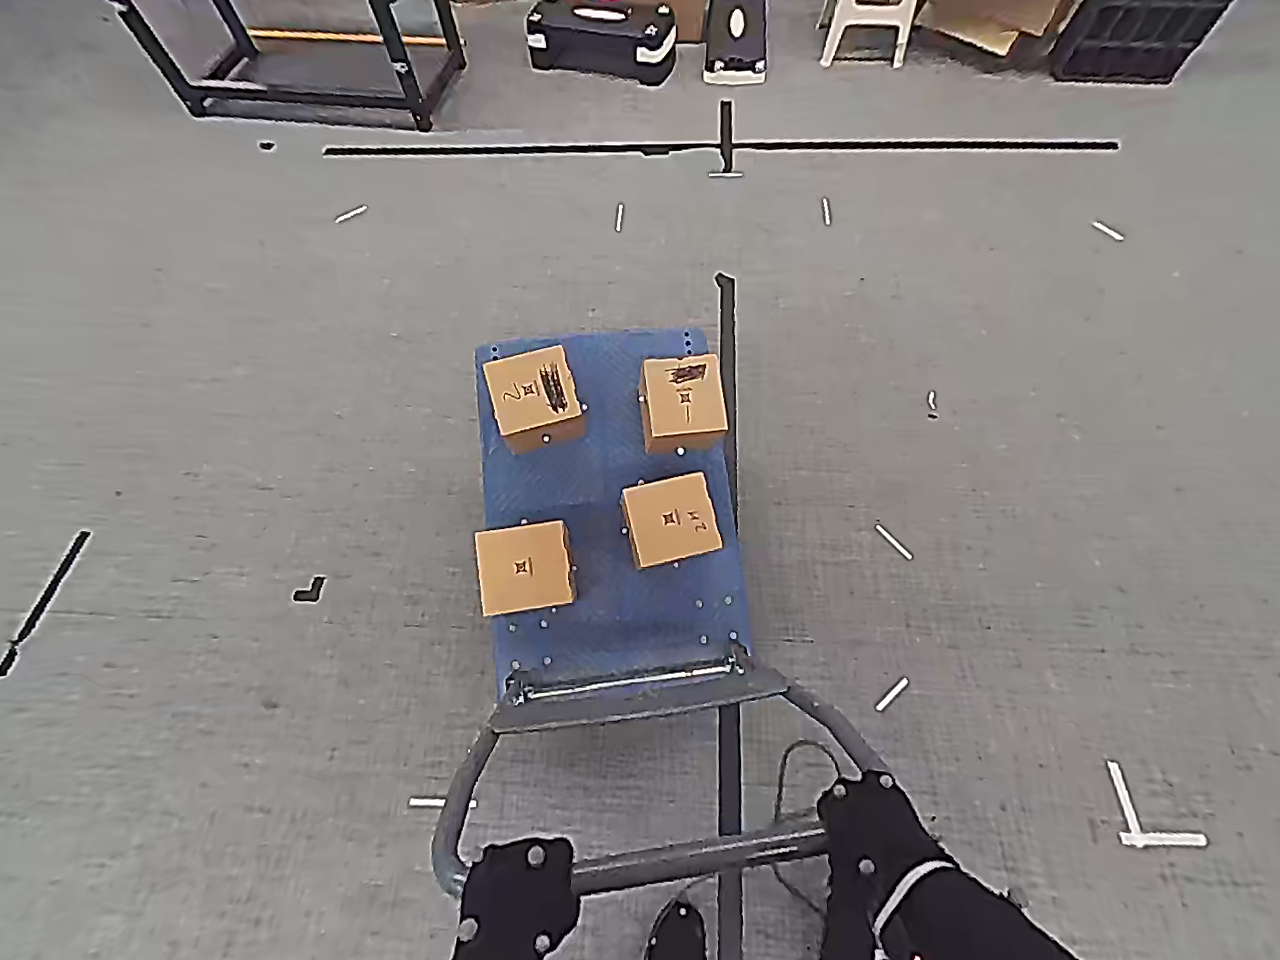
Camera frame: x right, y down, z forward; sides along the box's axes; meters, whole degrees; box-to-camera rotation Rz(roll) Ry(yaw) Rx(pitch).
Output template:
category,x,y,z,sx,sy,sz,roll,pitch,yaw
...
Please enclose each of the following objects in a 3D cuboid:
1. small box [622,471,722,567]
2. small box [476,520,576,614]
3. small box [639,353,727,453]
category,x,y,z,sx,sy,sz,roll,pitch,yaw
small box,0.062,0.091,1.180,0.179,0.176,0.168,-13,80,-6
small box,-0.234,0.188,1.142,0.179,0.176,0.168,-9,79,-7
small box,0.090,-0.171,1.234,0.168,0.176,0.179,-6,80,-5
